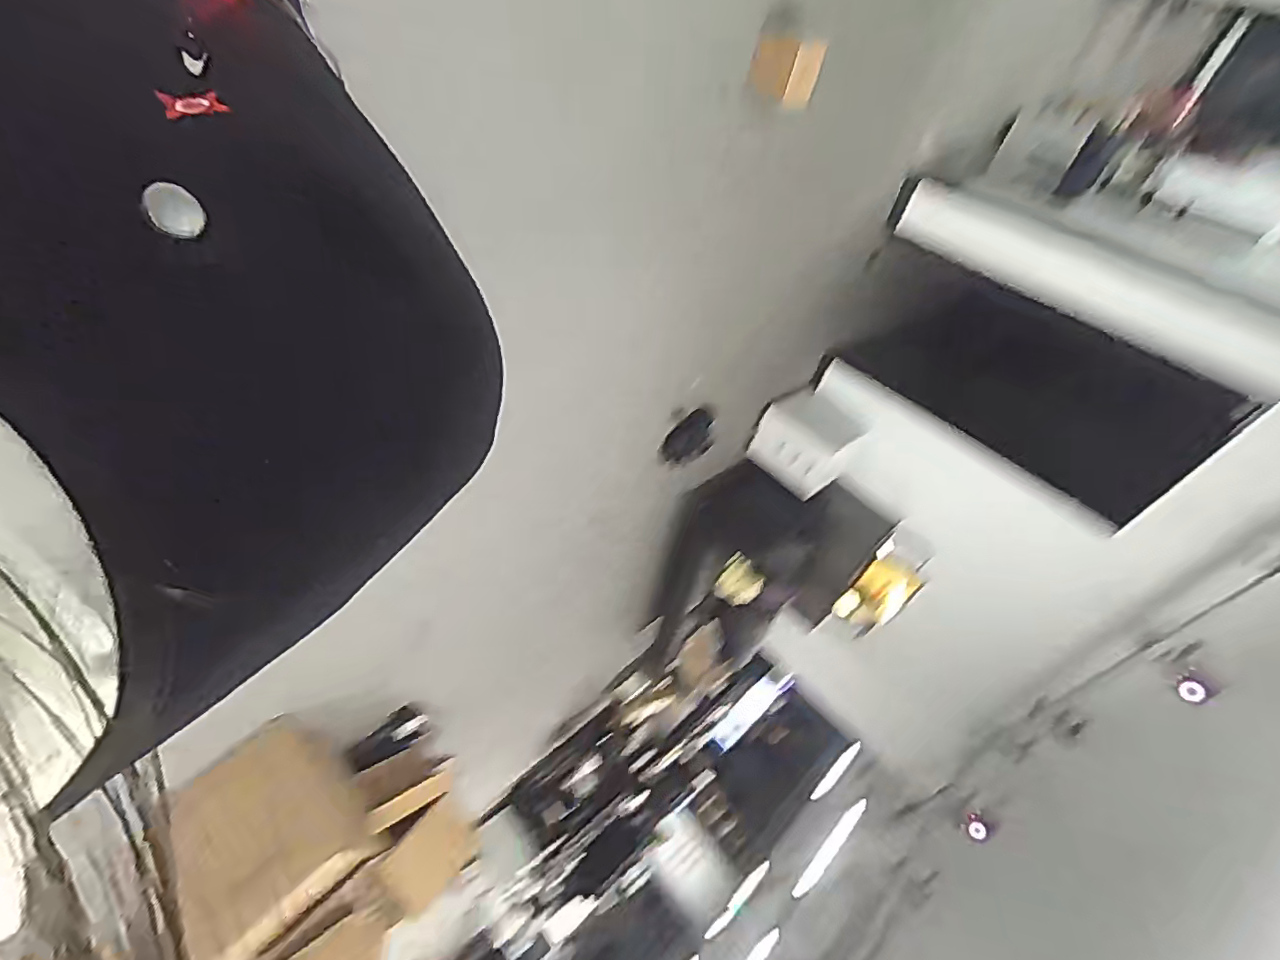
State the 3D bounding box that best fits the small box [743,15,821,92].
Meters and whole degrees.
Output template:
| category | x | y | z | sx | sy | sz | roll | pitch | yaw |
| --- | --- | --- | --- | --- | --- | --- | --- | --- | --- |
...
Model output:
| category | x | y | z | sx | sy | sz | roll | pitch | yaw |
| --- | --- | --- | --- | --- | --- | --- | --- | --- | --- |
| small box | 0.472 | -1.437 | 1.825 | 0.168 | 0.176 | 0.179 | -29 | 146 | -35 |
